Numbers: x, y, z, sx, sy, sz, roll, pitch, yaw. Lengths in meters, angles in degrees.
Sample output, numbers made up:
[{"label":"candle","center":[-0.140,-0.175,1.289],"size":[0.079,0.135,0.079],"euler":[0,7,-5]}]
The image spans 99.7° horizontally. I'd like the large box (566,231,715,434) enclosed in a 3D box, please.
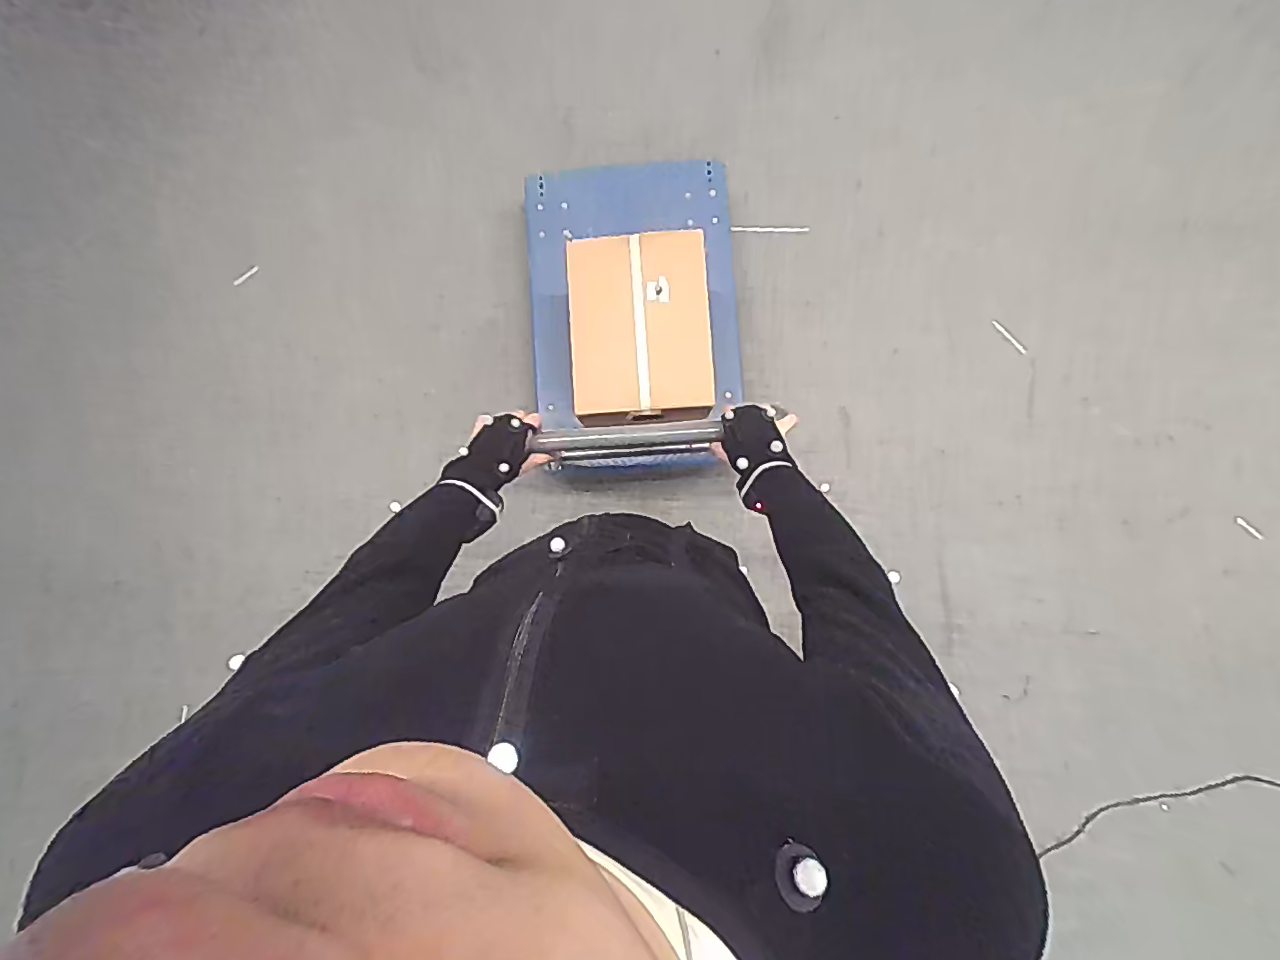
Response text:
[{"label":"large box","center":[0.005,-0.345,1.361],"size":[0.320,0.320,0.408],"euler":[-4,86,2]}]
